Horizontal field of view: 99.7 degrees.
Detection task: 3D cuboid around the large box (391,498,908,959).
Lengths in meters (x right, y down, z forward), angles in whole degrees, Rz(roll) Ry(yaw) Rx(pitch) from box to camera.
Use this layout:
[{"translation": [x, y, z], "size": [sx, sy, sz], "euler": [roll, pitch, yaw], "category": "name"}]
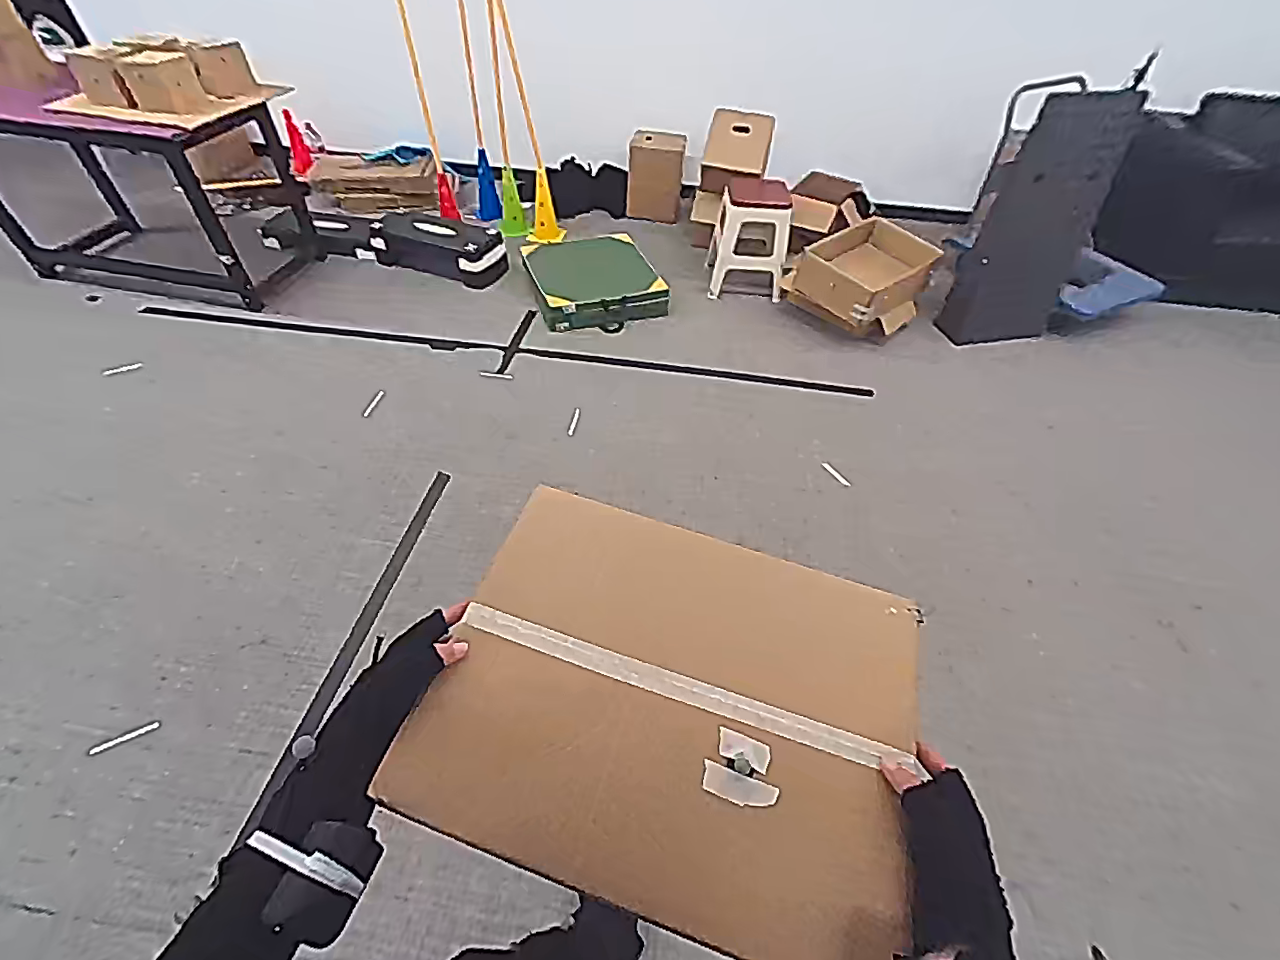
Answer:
[{"translation": [0.025, 0.275, 0.603], "size": [0.408, 0.320, 0.320], "euler": [17, 55, 8], "category": "large box"}]
